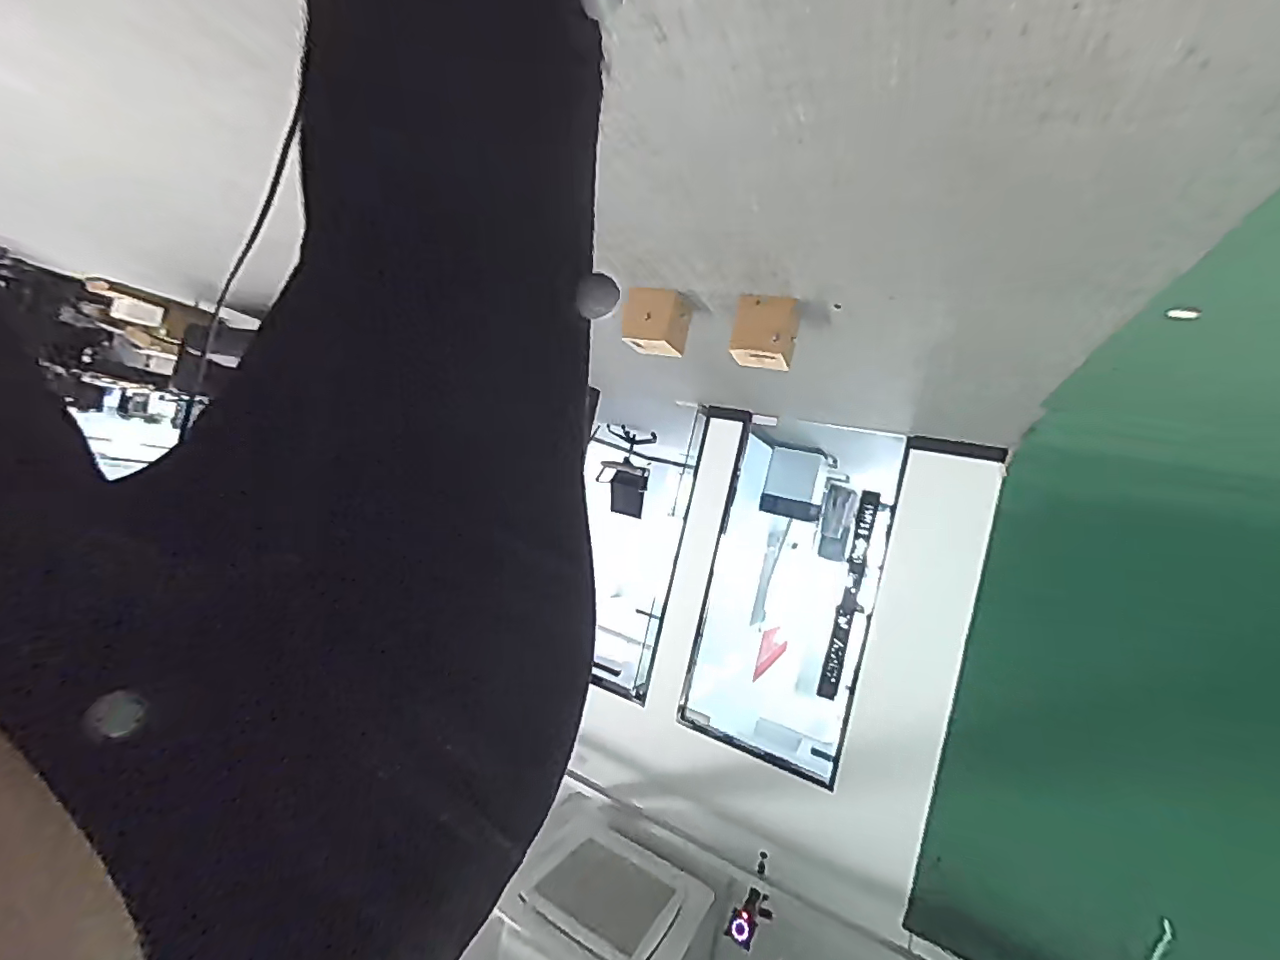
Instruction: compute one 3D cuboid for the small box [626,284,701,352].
[{"bbox_3d":[0.082,-0.537,1.787,0.179,0.176,0.168,13,180,27],"label":"small box"}]
